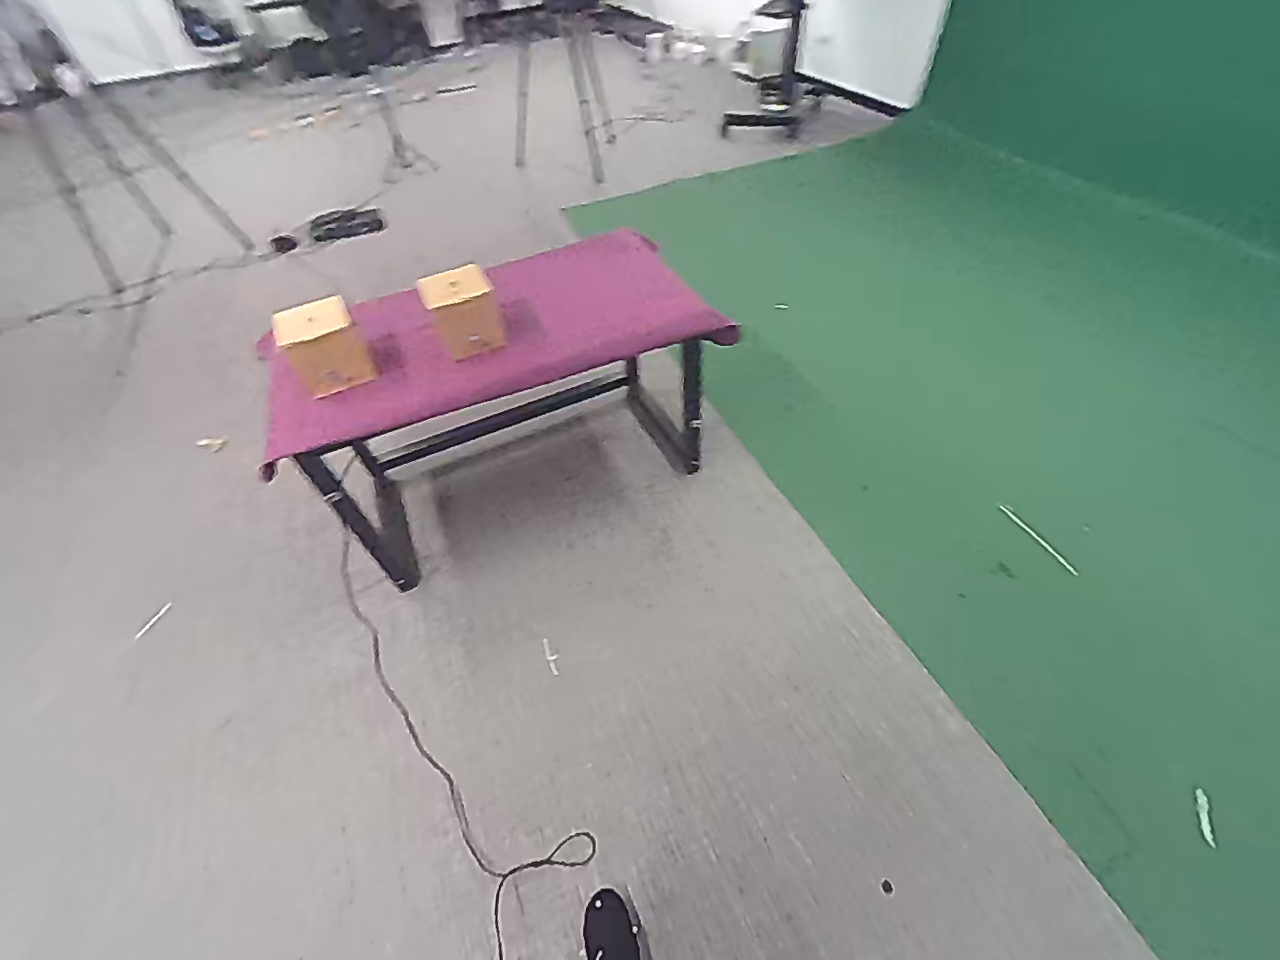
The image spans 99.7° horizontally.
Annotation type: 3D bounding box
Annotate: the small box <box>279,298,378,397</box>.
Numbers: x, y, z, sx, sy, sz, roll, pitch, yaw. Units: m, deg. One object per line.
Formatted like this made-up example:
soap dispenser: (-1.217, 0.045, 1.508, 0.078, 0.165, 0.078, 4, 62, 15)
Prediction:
small box: (-0.825, -0.351, 1.438, 0.168, 0.176, 0.179, -24, 52, -16)

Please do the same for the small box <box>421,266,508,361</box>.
small box: (-0.484, -0.461, 1.502, 0.168, 0.176, 0.179, -22, 51, -13)
